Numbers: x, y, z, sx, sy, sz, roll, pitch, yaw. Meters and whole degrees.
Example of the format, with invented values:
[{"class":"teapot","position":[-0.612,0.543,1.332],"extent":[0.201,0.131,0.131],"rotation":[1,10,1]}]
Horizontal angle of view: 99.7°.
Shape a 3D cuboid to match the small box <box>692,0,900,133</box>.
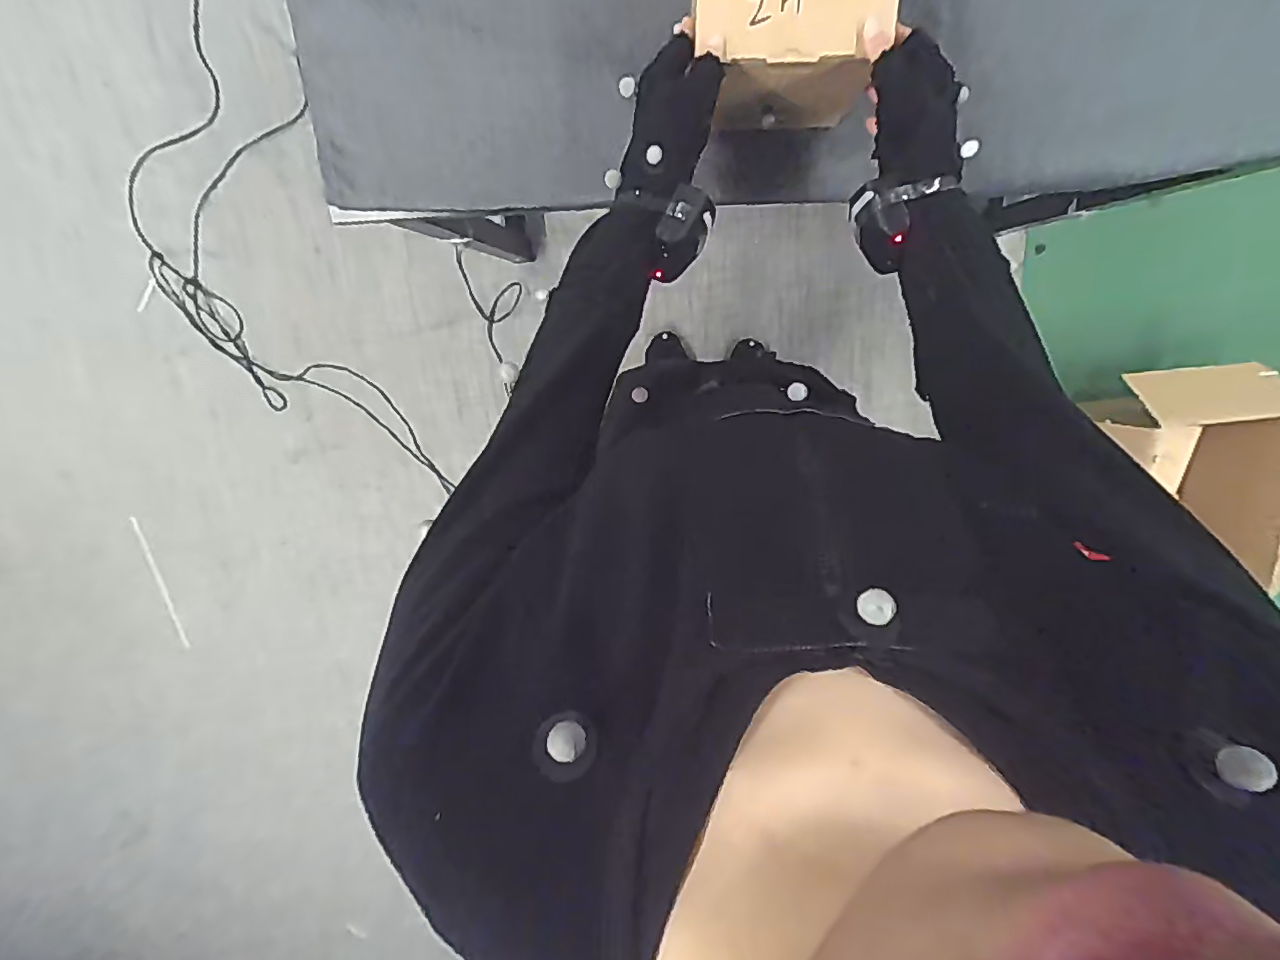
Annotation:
[{"class":"small box","position":[0.136,-0.456,0.512],"extent":[0.168,0.176,0.179],"rotation":[1,107,4]}]
